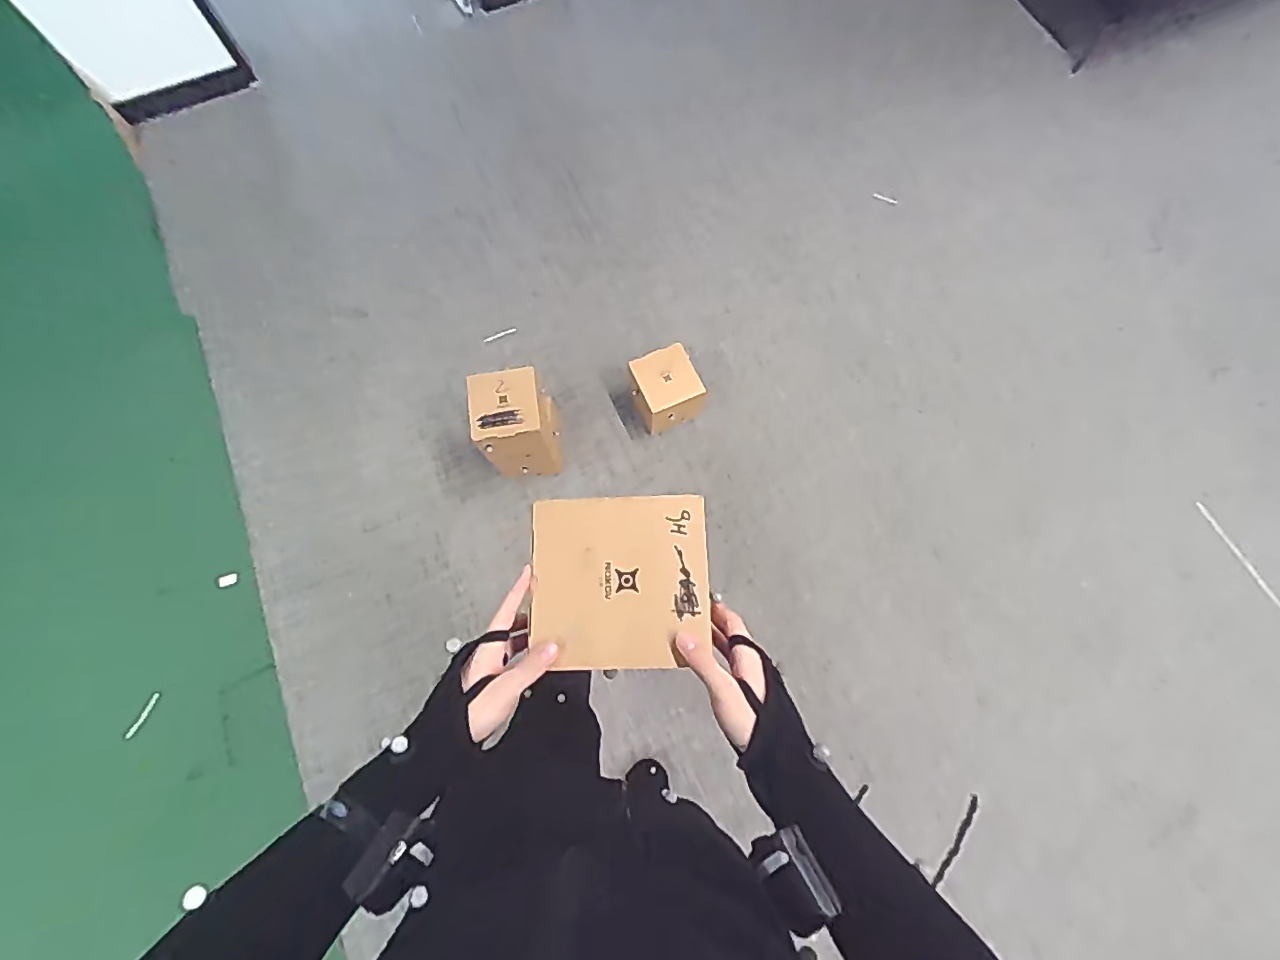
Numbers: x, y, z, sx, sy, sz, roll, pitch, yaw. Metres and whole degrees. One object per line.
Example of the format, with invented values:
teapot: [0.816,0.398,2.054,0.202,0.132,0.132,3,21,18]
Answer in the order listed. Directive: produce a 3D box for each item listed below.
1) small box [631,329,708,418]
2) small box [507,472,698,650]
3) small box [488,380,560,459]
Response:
small box: [0.082,-0.295,1.551,0.168,0.176,0.179,-22,74,-6]
small box: [-0.027,0.093,0.585,0.179,0.176,0.168,1,76,4]
small box: [-0.317,-0.162,1.510,0.168,0.176,0.179,-2,73,-1]
